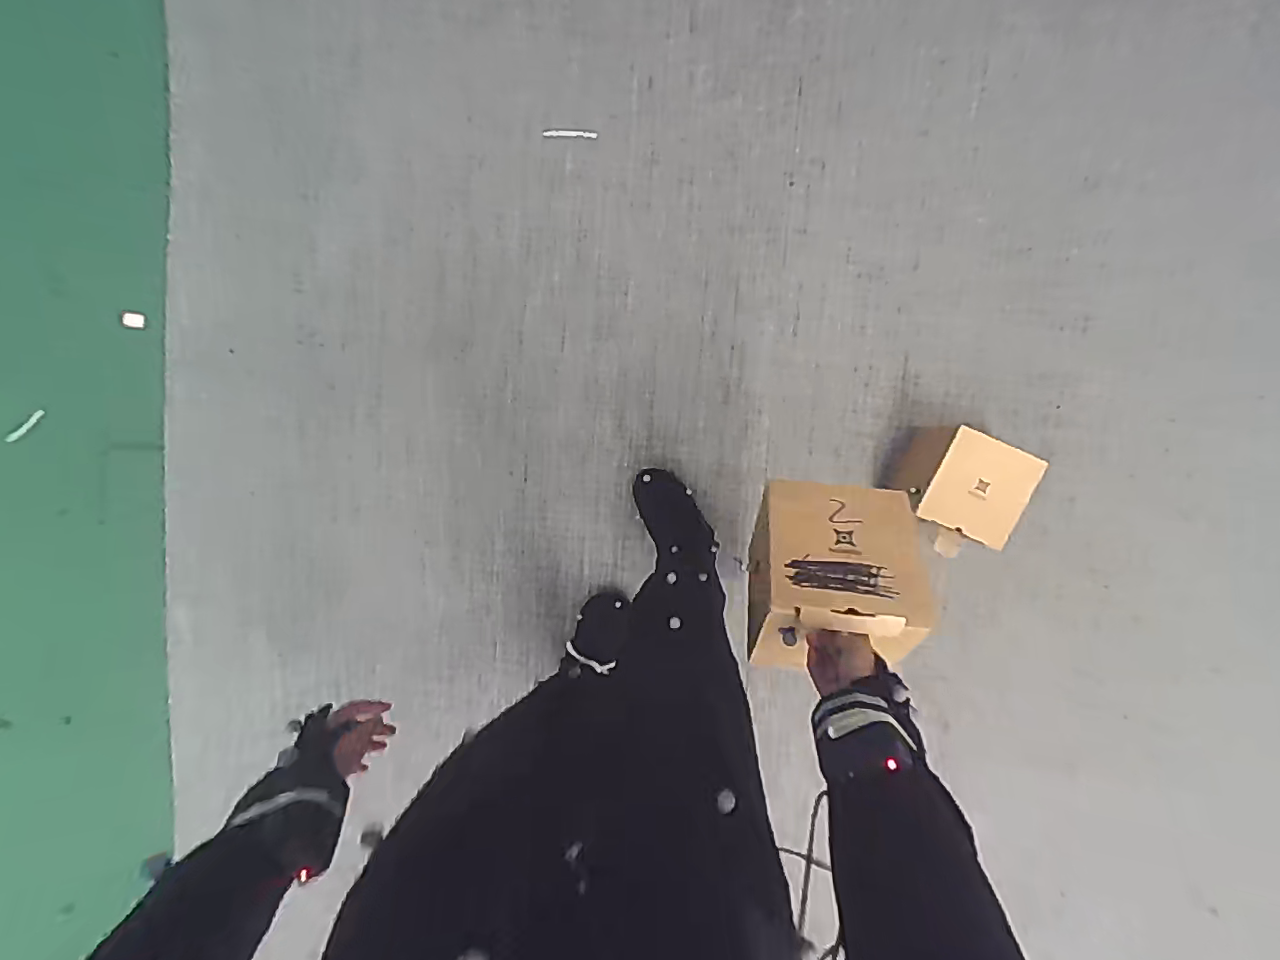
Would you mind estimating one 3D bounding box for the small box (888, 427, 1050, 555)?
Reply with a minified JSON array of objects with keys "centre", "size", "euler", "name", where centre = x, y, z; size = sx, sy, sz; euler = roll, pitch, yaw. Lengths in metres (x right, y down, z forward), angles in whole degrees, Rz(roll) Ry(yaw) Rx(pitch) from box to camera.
[{"centre":[0.598,0.012,1.011],"size":[0.168,0.176,0.179],"euler":[25,97,1],"name":"small box"}]
